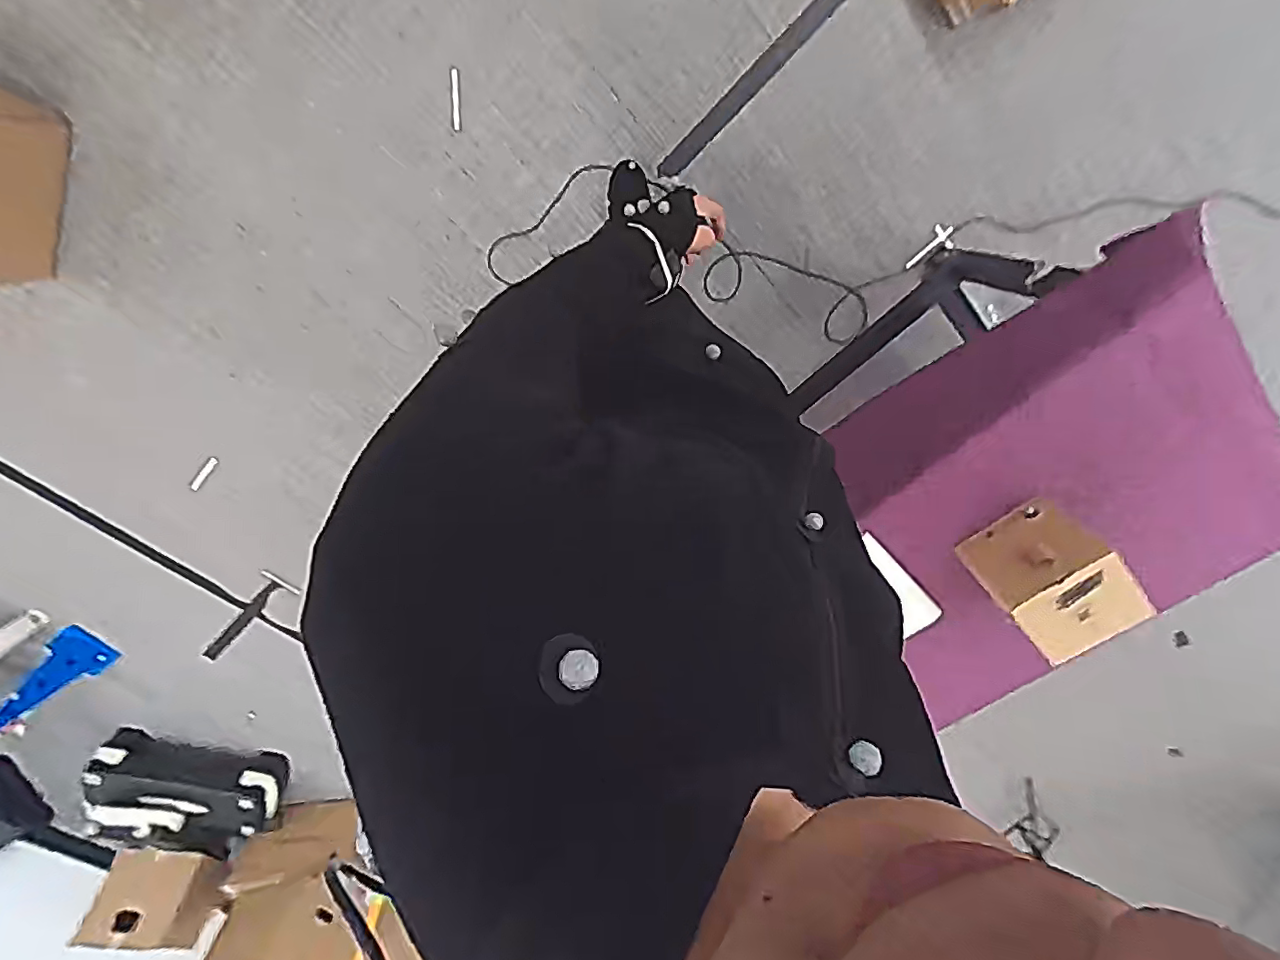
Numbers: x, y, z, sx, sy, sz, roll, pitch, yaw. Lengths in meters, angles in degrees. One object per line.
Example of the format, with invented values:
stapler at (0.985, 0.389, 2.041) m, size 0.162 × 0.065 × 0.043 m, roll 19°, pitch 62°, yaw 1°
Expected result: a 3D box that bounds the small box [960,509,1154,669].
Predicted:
small box at (0.686, 0.173, 0.909) m, size 0.168 × 0.176 × 0.179 m, roll -40°, pitch 113°, yaw 18°
